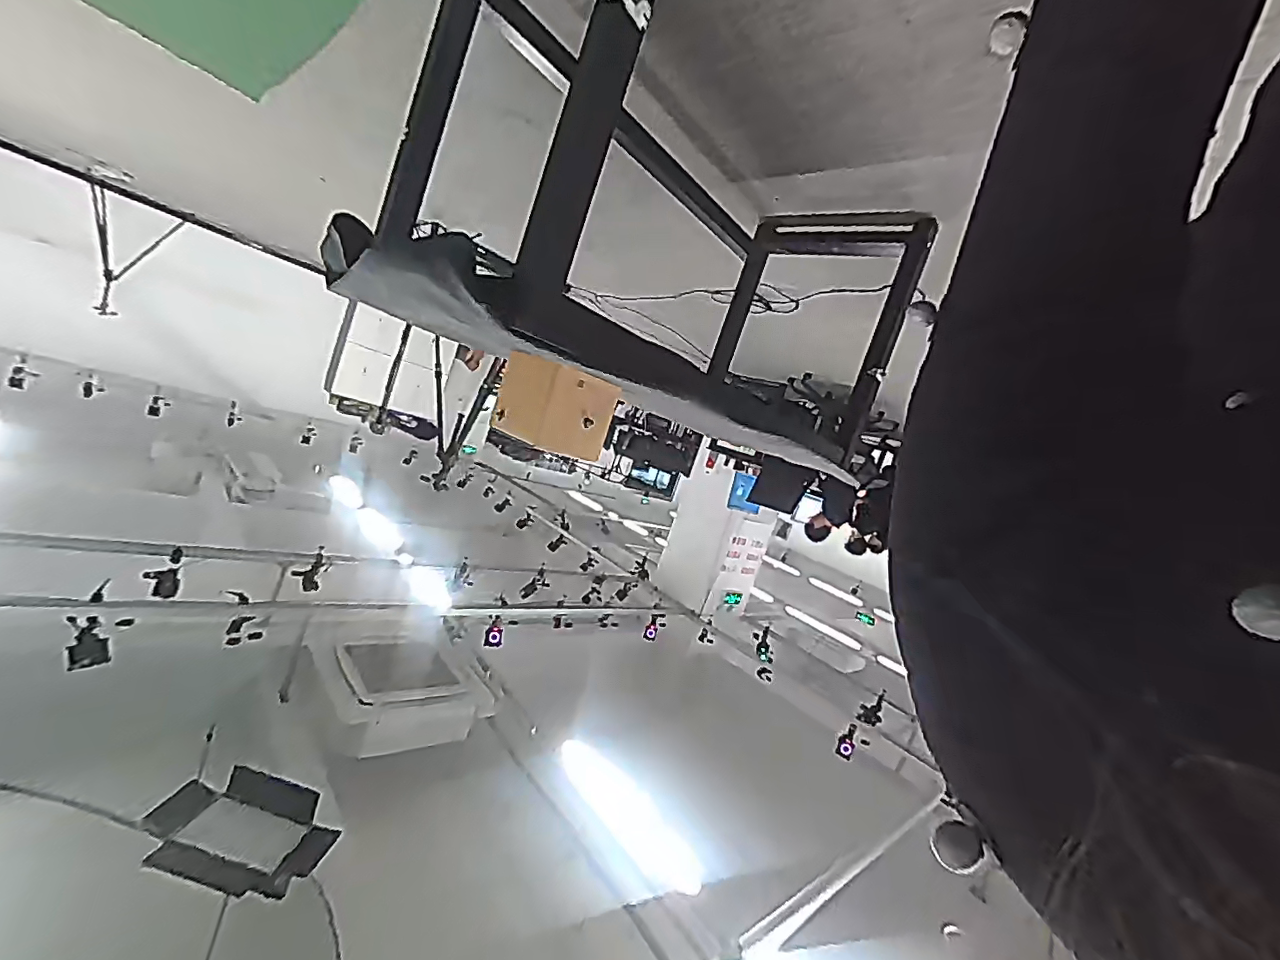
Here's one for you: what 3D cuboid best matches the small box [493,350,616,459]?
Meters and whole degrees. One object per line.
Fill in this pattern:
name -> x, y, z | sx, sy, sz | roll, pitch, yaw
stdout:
small box -> -0.168, -0.155, 1.099 | 0.179, 0.176, 0.168 | 24, -172, 42
